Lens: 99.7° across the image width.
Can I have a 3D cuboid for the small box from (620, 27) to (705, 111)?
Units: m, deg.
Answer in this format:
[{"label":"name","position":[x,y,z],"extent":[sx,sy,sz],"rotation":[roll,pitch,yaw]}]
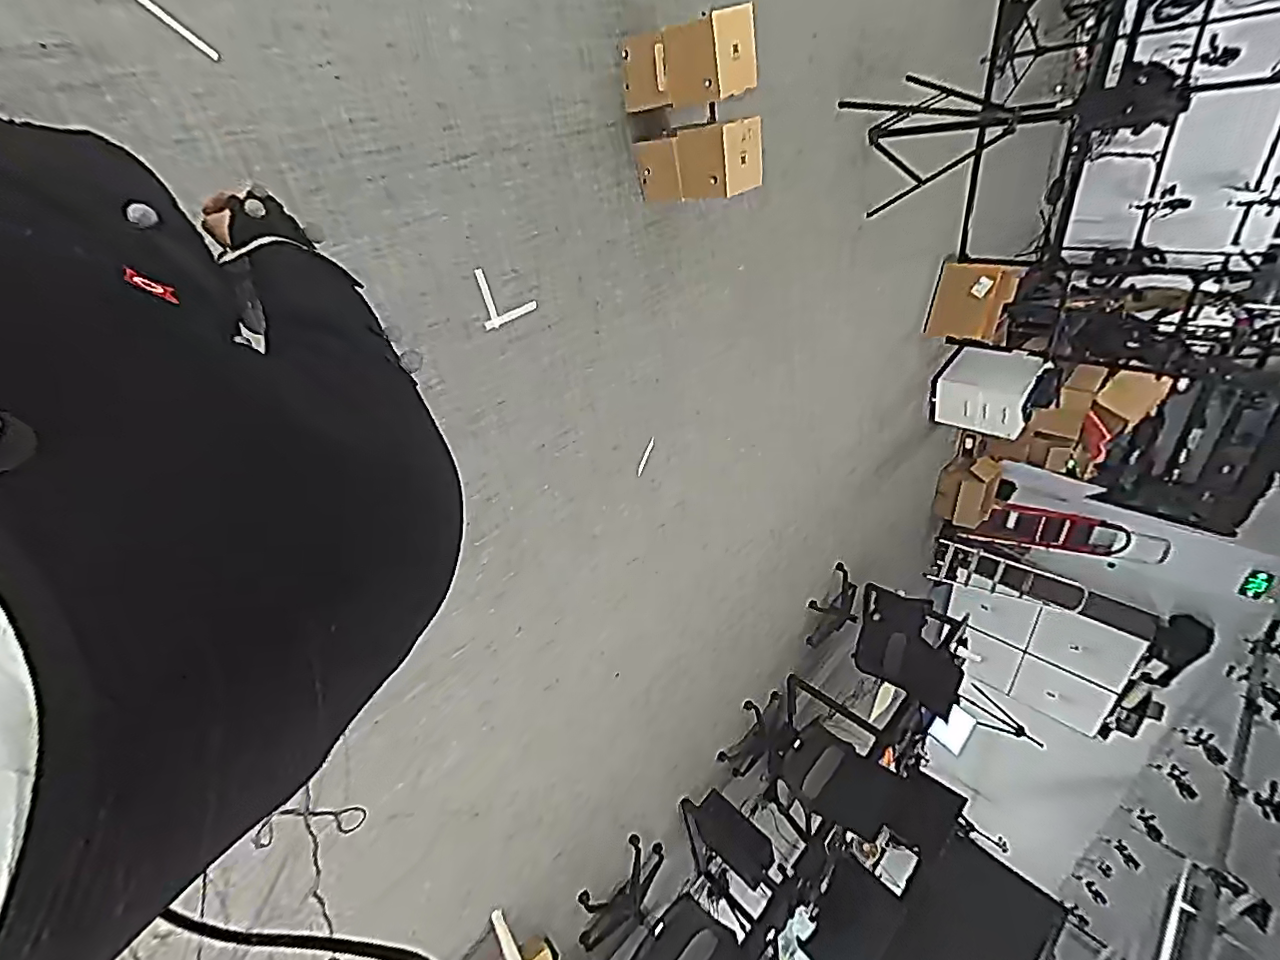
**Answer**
[{"label":"small box","position":[0.058,-1.147,1.514],"extent":[0.179,0.176,0.168],"rotation":[-33,130,-33]}]
